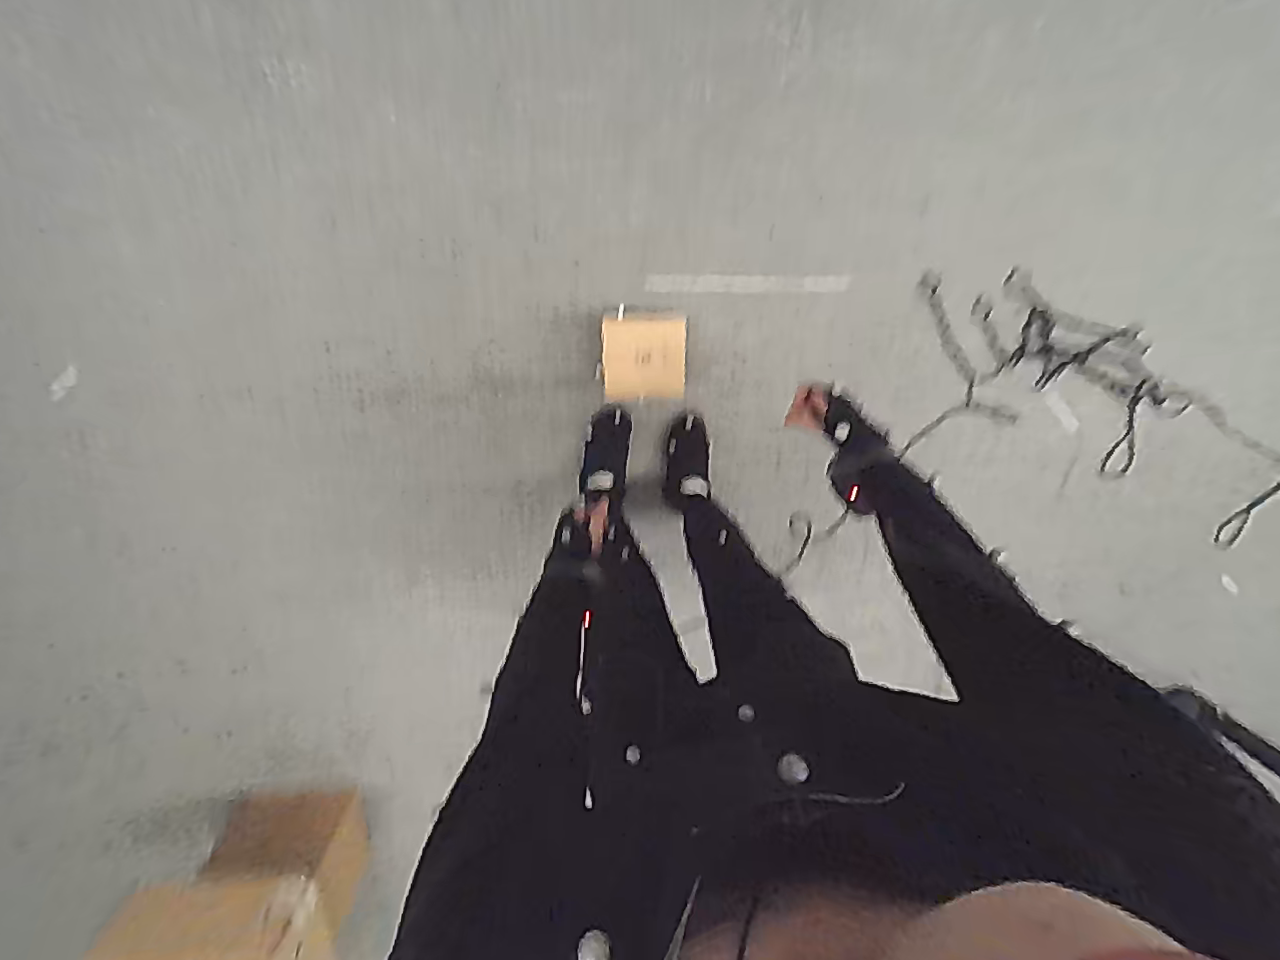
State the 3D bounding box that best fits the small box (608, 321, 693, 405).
[{"bbox_3d":[0.019,-0.262,1.199,0.179,0.176,0.168,-2,109,-3],"label":"small box"}]
